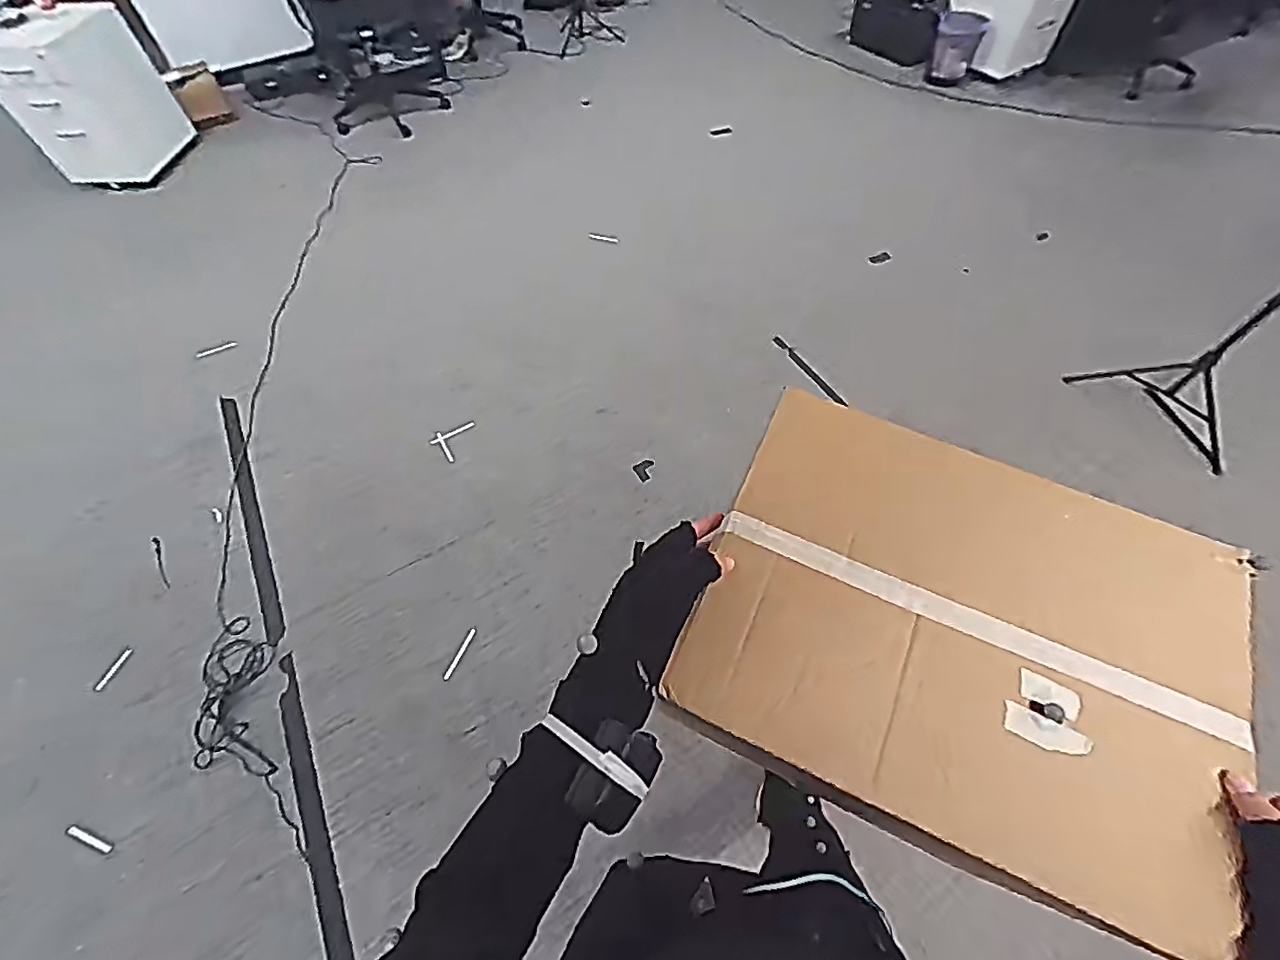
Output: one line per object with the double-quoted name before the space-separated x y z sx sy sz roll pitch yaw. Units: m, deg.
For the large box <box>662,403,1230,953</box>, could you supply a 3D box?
"large box" 0.266 0.180 0.585 0.408 0.320 0.320 23 68 11
